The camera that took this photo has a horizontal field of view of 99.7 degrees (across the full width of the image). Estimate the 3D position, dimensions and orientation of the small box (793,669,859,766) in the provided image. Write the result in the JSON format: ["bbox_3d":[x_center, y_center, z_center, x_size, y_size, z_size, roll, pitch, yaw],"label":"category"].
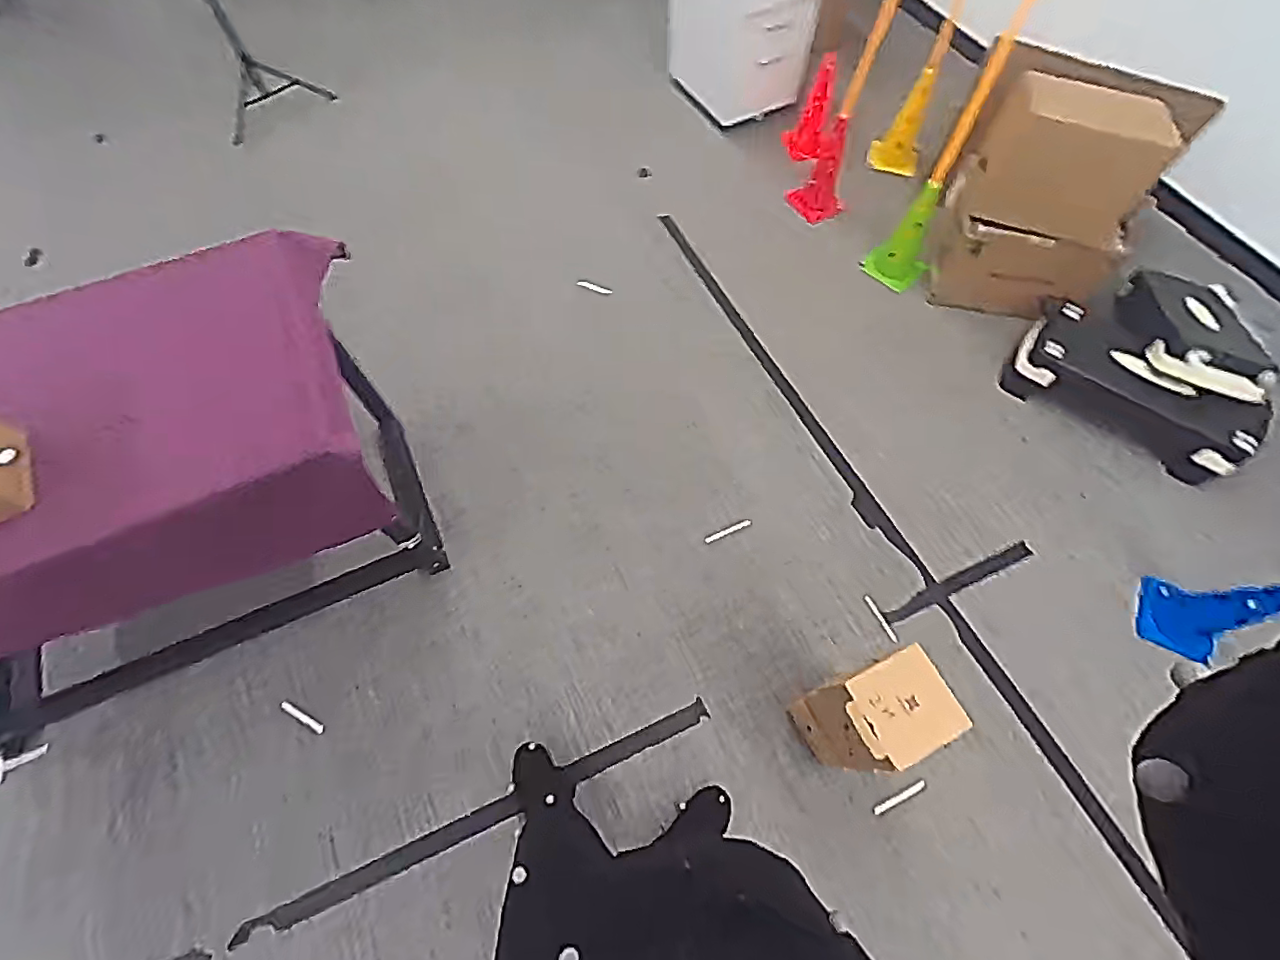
[{"bbox_3d":[0.504,0.588,1.349,0.179,0.176,0.168,-26,68,-12],"label":"small box"}]

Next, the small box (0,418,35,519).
[{"bbox_3d":[-1.102,-0.019,0.823,0.179,0.176,0.168,-27,68,-13],"label":"small box"}]

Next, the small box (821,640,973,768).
[{"bbox_3d":[0.489,0.434,1.056,0.179,0.176,0.168,-24,68,-11],"label":"small box"}]
